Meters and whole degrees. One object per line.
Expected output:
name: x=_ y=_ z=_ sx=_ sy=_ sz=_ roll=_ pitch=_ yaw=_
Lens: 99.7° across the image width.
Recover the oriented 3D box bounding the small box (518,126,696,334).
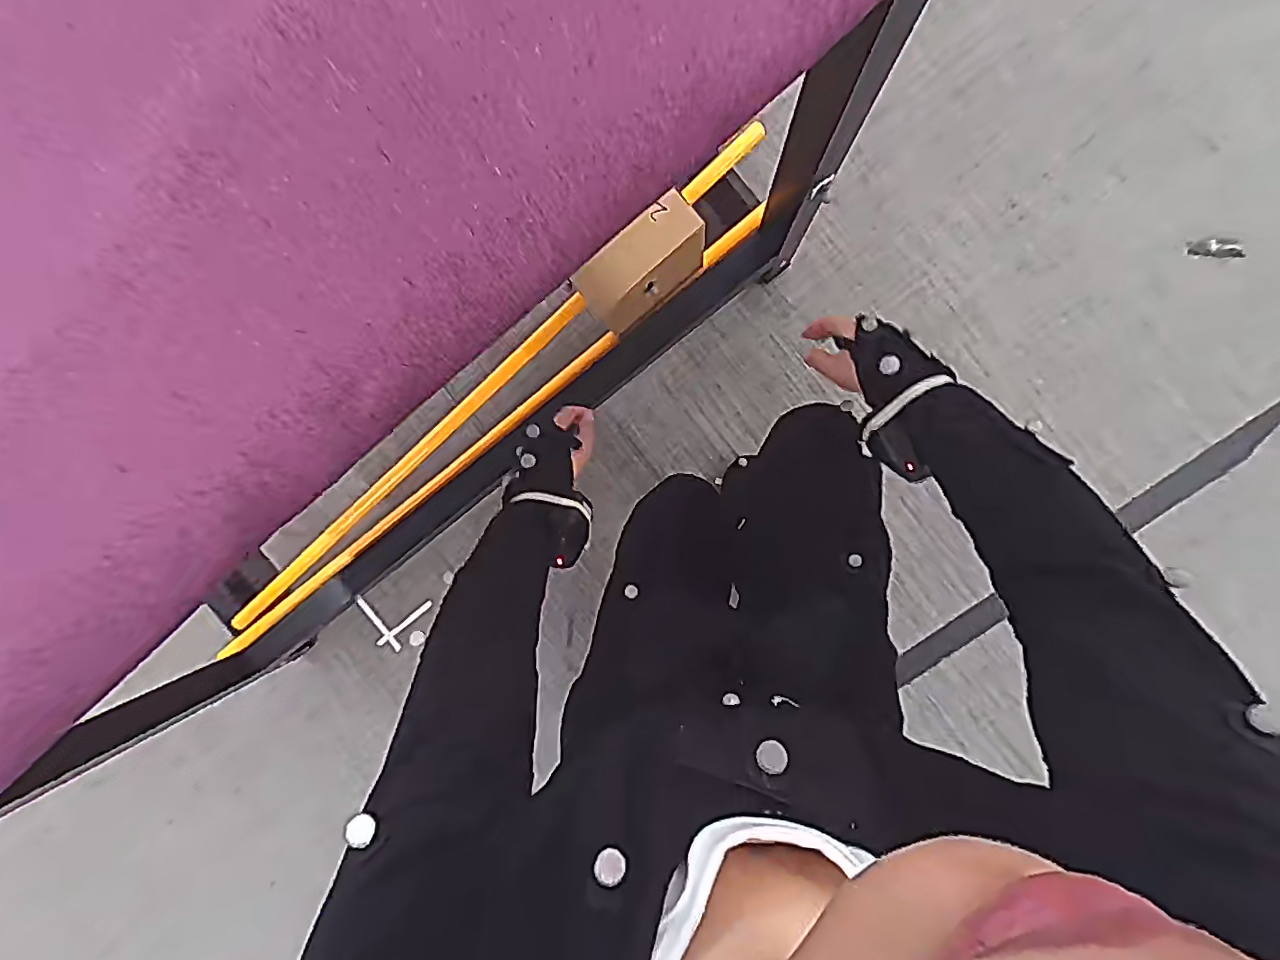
small box: x=-0.035 y=-0.332 z=0.763 sx=0.179 sy=0.176 sz=0.168 roll=-39 pitch=90 yaw=6
